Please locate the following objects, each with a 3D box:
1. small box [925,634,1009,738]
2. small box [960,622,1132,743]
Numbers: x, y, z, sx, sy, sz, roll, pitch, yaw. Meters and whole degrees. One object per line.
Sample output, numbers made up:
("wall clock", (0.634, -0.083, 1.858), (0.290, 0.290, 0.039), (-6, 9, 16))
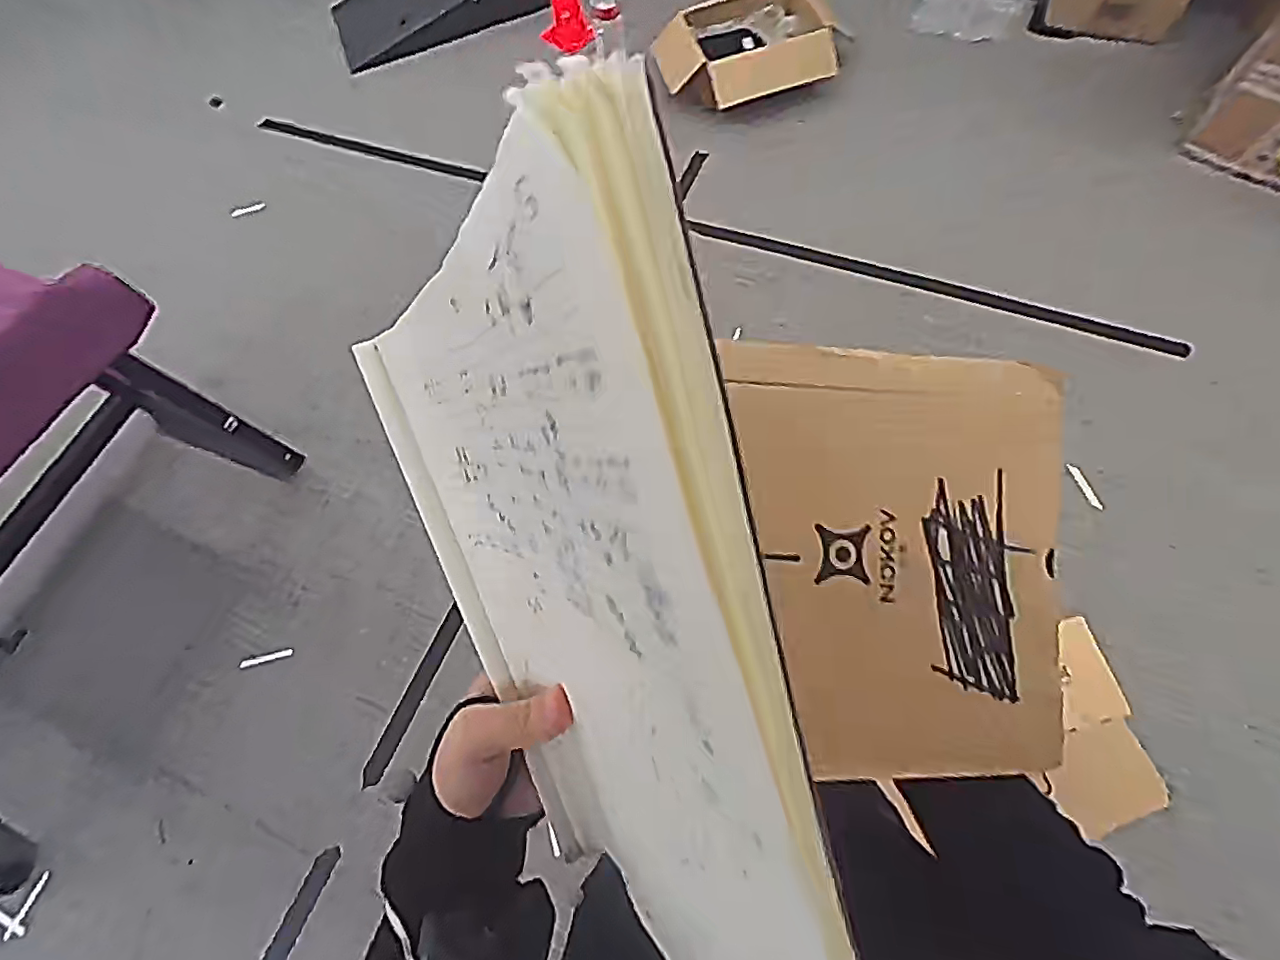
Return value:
("small box", (0.770, 0.443, 1.189), (0.168, 0.176, 0.179), (-15, 72, -2))
("small box", (0.759, 0.384, 1.037), (0.168, 0.176, 0.179), (-14, 71, -2))
